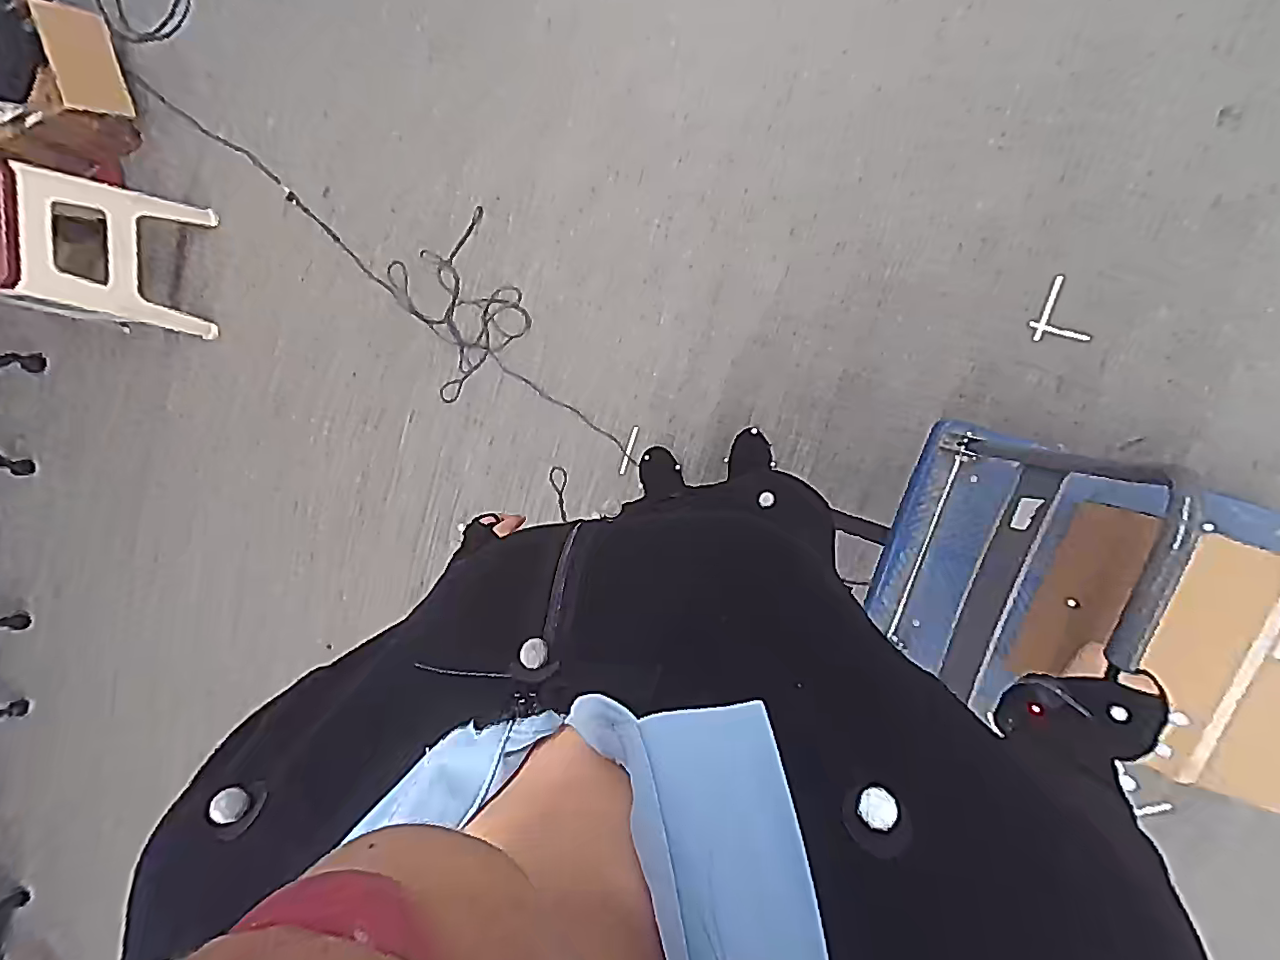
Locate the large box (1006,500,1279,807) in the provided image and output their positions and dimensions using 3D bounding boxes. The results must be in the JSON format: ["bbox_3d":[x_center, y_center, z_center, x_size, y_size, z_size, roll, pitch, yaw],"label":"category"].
[{"bbox_3d":[0.982,0.287,1.015,0.320,0.320,0.408,19,98,7],"label":"large box"}]
